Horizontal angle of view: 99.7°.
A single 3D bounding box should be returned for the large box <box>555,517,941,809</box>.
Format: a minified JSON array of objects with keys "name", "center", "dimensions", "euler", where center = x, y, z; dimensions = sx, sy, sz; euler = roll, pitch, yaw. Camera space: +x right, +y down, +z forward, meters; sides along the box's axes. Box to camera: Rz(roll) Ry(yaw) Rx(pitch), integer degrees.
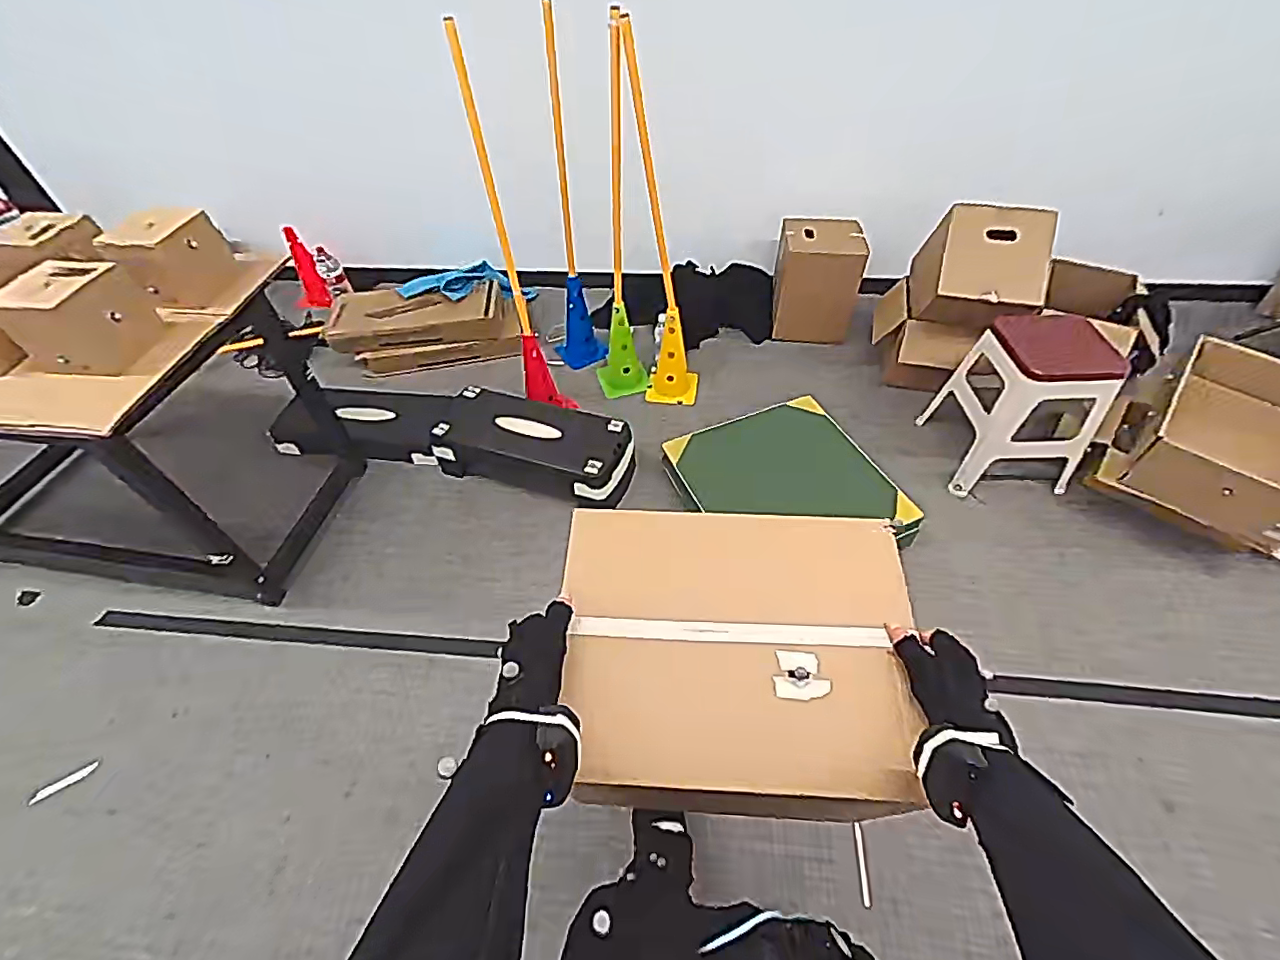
[{"name":"large box","center":[0.115,0.264,0.756],"dimensions":[0.408,0.320,0.320],"euler":[2,56,3]}]
